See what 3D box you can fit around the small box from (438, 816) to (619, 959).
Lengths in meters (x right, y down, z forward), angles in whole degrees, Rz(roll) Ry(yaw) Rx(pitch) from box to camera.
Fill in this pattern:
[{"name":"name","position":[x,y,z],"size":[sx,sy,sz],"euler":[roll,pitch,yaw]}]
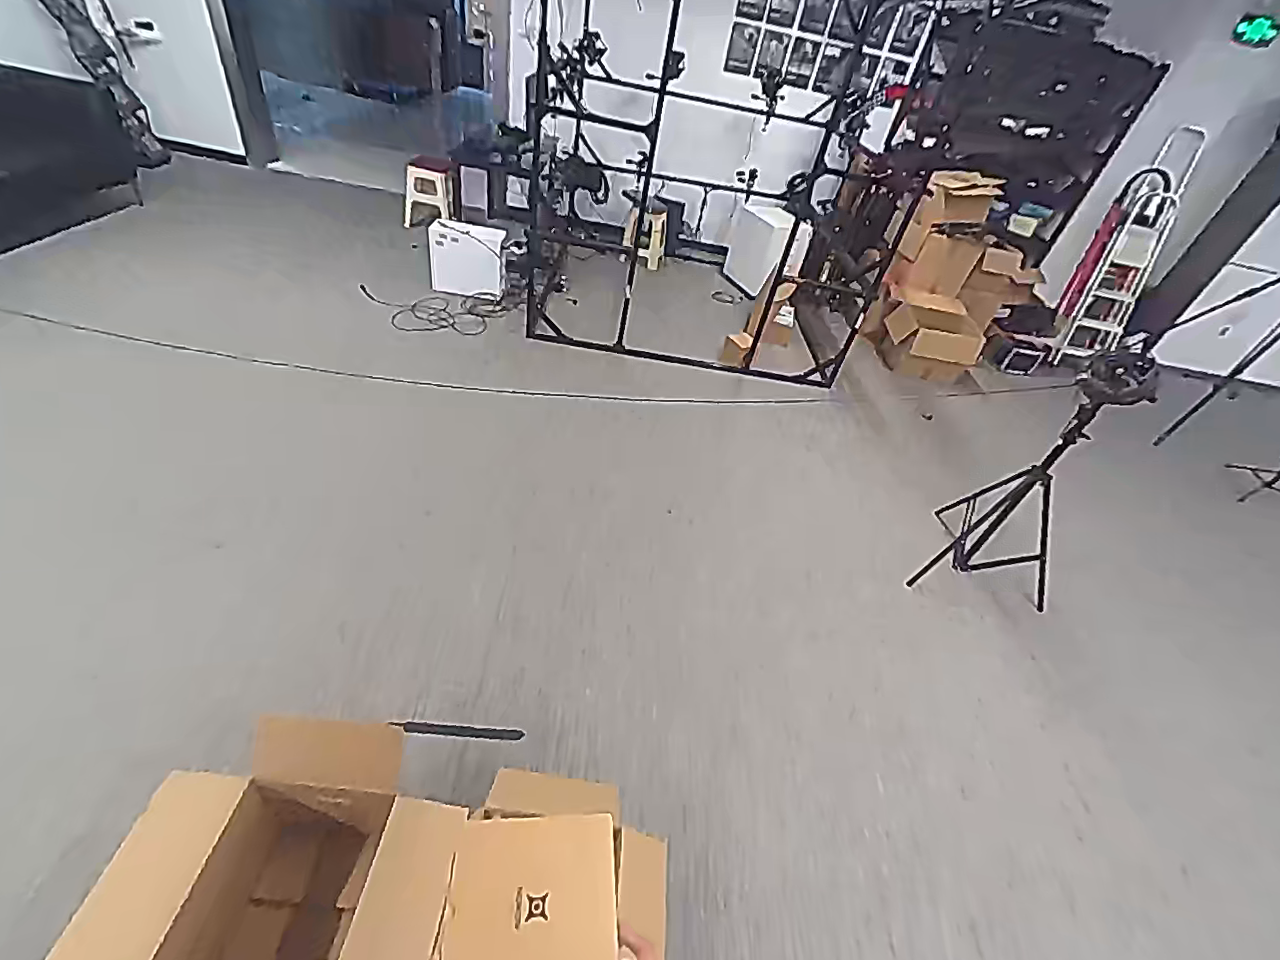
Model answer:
[{"name":"small box","position":[-0.119,0.498,0.606],"size":[0.179,0.176,0.168],"euler":[1,41,-8]}]
